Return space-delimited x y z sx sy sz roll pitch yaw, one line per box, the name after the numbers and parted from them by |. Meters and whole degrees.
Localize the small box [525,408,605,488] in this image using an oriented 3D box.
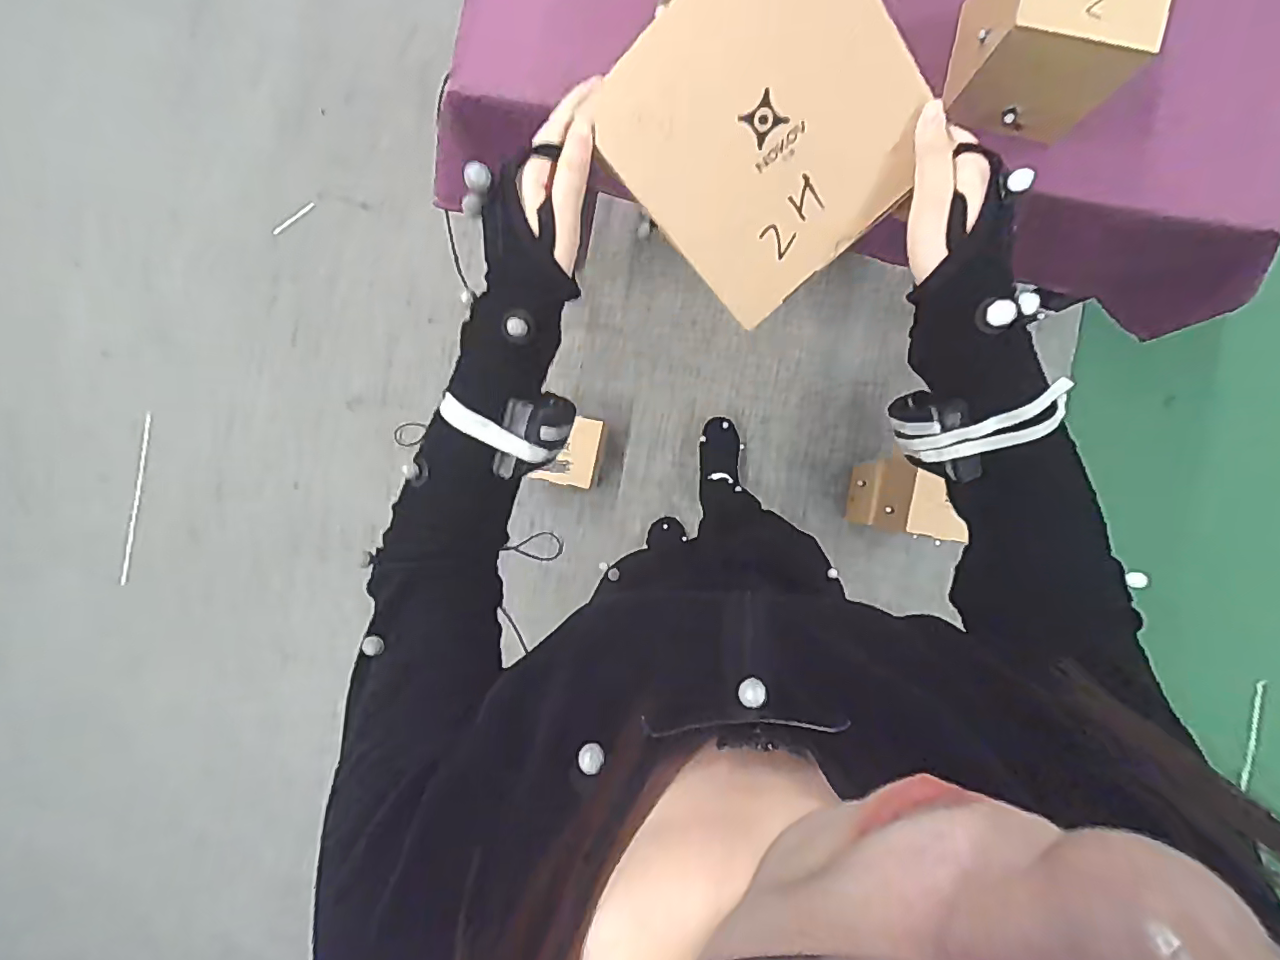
-0.191 -0.079 1.431 0.168 0.176 0.179 11 89 1 | small box

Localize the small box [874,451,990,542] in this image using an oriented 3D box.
0.667 0.036 1.256 0.168 0.176 0.179 11 89 -1 | small box

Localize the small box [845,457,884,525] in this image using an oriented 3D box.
0.660 0.036 1.419 0.179 0.176 0.168 8 90 0 | small box
